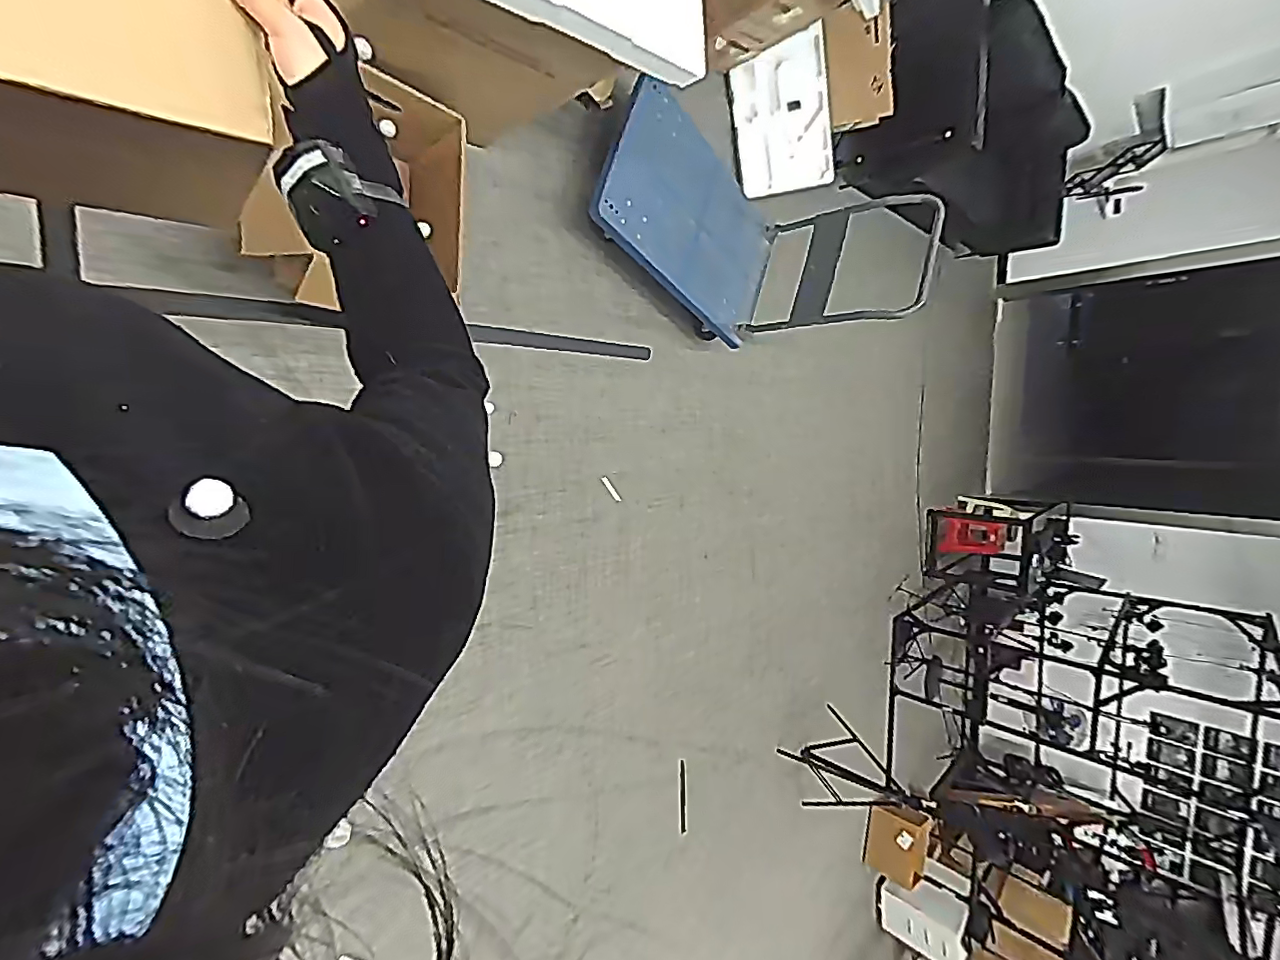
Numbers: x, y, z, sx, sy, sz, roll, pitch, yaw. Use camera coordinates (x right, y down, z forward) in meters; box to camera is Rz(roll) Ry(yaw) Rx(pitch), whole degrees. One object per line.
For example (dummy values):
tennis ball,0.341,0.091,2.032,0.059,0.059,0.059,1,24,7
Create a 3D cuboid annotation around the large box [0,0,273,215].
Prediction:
large box,-0.546,-0.420,0.392,0.408,0.320,0.320,-9,102,-41
